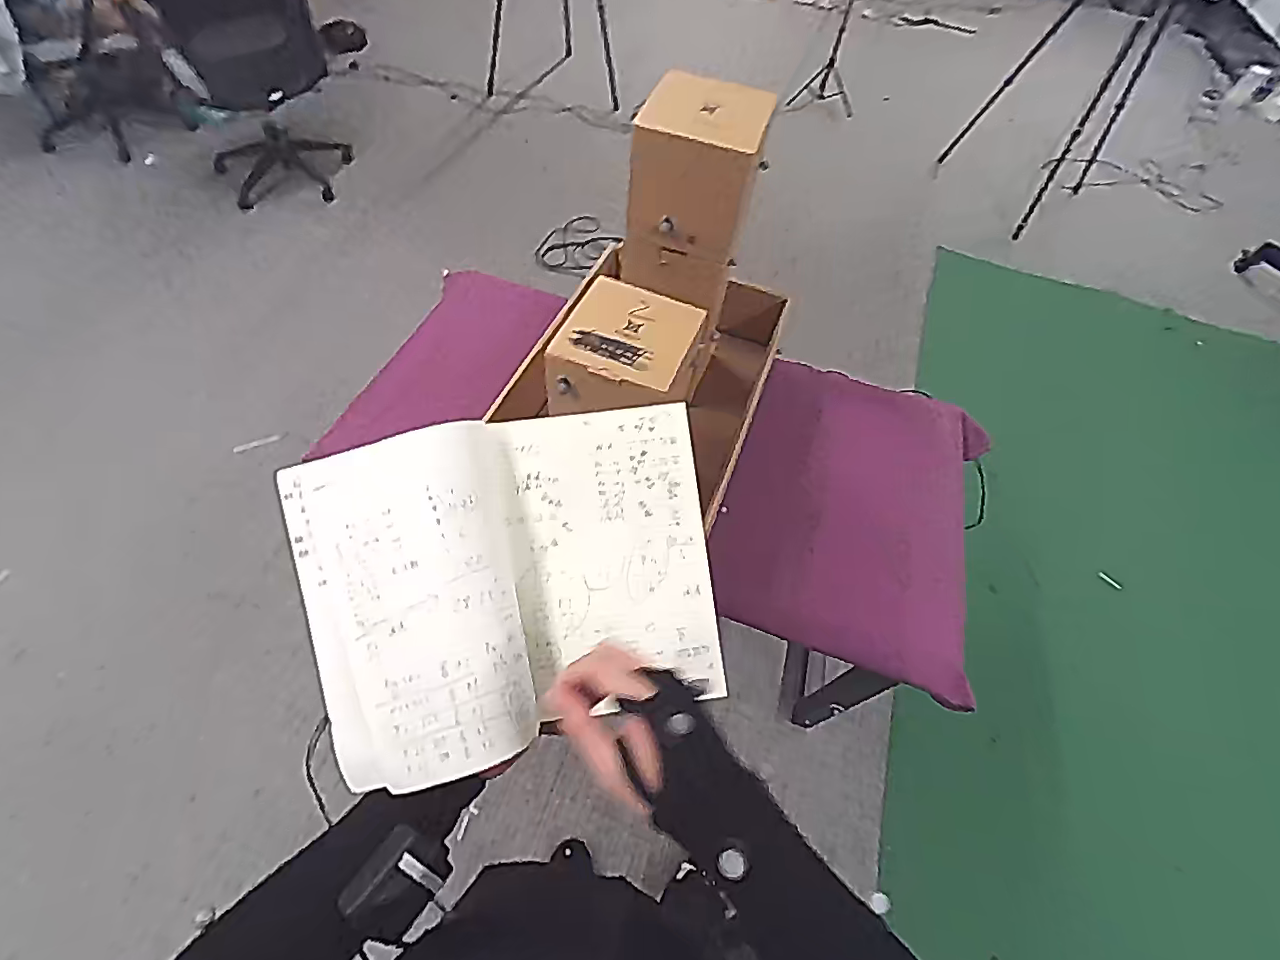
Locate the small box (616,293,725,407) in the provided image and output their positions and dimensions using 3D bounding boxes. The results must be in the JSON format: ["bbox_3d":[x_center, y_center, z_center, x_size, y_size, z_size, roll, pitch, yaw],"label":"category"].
[{"bbox_3d":[0.055,-0.279,1.077,0.168,0.176,0.179,19,59,6],"label":"small box"}]

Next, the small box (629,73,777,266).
[{"bbox_3d":[0.086,-0.456,0.804,0.168,0.176,0.179,18,59,6],"label":"small box"}]

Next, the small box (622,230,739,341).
[{"bbox_3d":[0.071,-0.372,0.942,0.168,0.176,0.179,18,58,5],"label":"small box"}]
